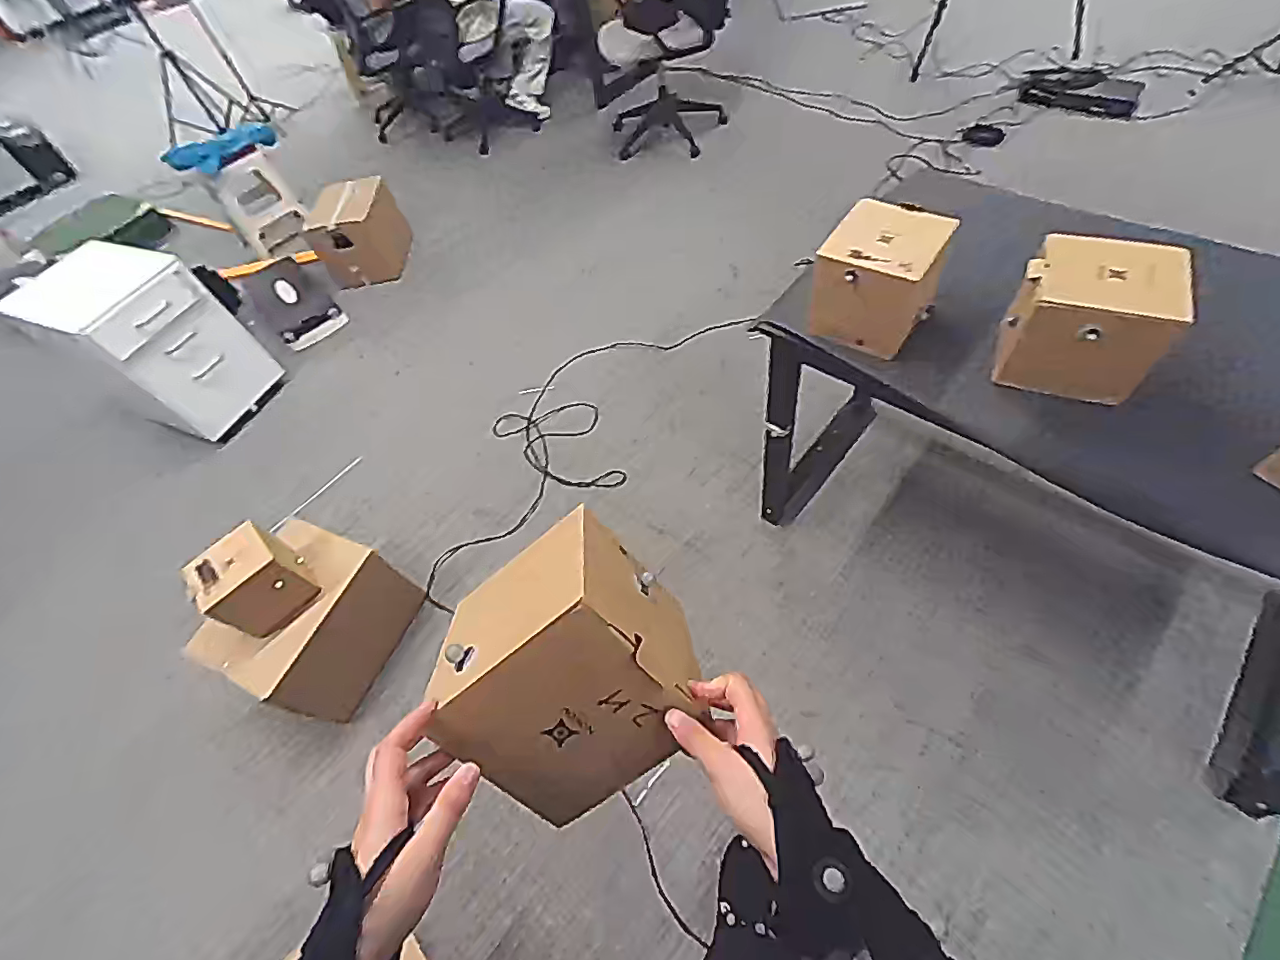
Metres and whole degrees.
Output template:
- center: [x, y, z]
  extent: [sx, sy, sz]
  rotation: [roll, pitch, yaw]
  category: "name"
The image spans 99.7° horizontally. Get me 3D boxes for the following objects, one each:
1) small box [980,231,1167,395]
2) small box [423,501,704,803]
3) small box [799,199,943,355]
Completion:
- center: [0.656, -0.254, 0.838]
  extent: [0.179, 0.176, 0.168]
  rotation: [17, 62, 20]
  category: "small box"
- center: [-0.066, 0.154, 0.517]
  extent: [0.179, 0.168, 0.176]
  rotation: [-38, 22, 10]
  category: "small box"
- center: [0.394, -0.355, 0.953]
  extent: [0.168, 0.176, 0.179]
  rotation: [28, 65, 25]
  category: "small box"
